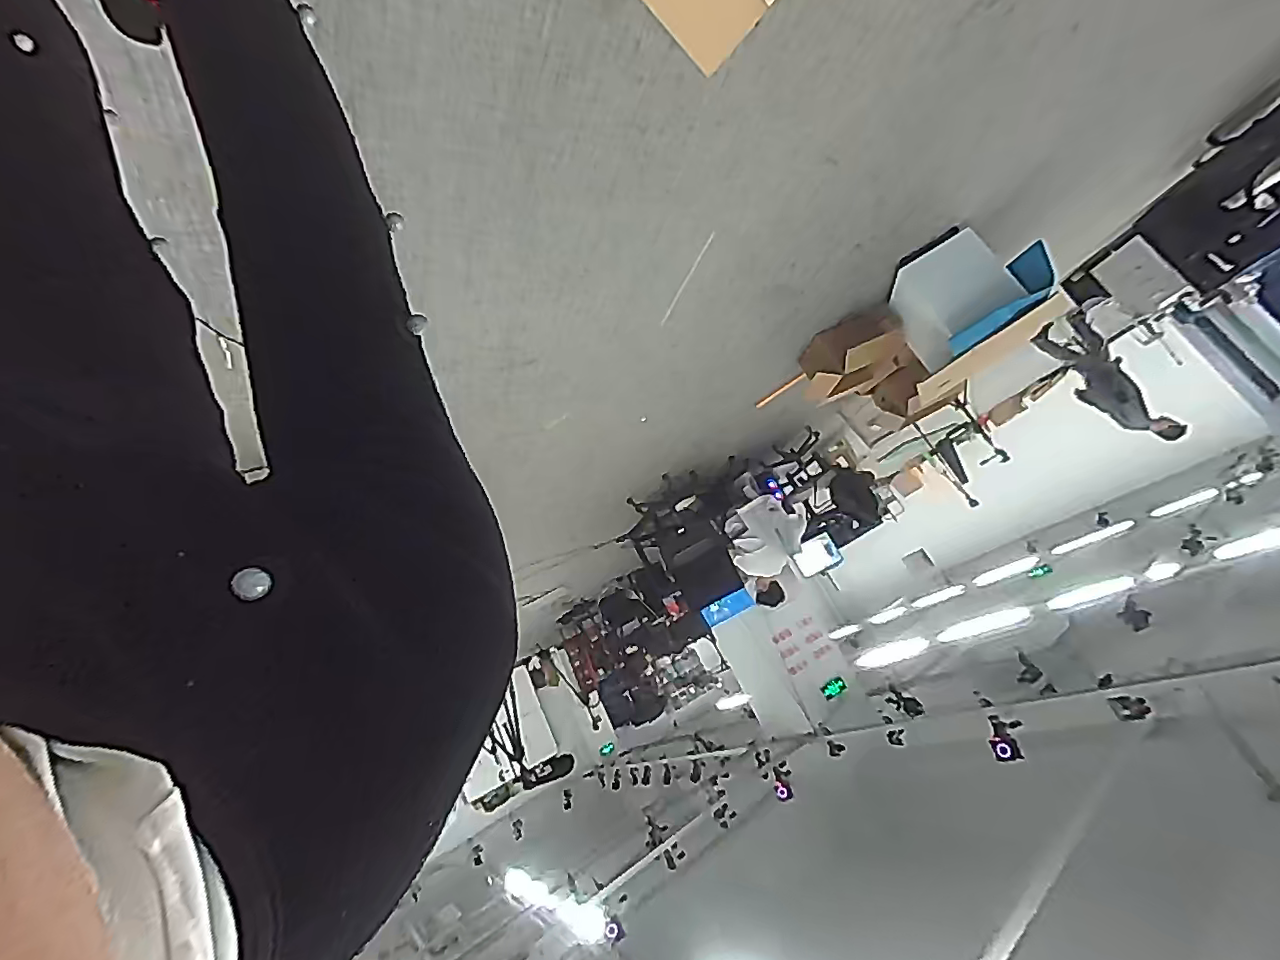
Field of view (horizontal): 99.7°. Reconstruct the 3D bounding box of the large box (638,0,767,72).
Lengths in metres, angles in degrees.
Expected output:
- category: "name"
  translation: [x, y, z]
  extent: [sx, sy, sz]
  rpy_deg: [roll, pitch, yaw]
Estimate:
- category: "large box"
  translation: [0.049, -0.989, 0.858]
  extent: [0.320, 0.320, 0.408]
  rpy_deg: [-38, 160, 30]
